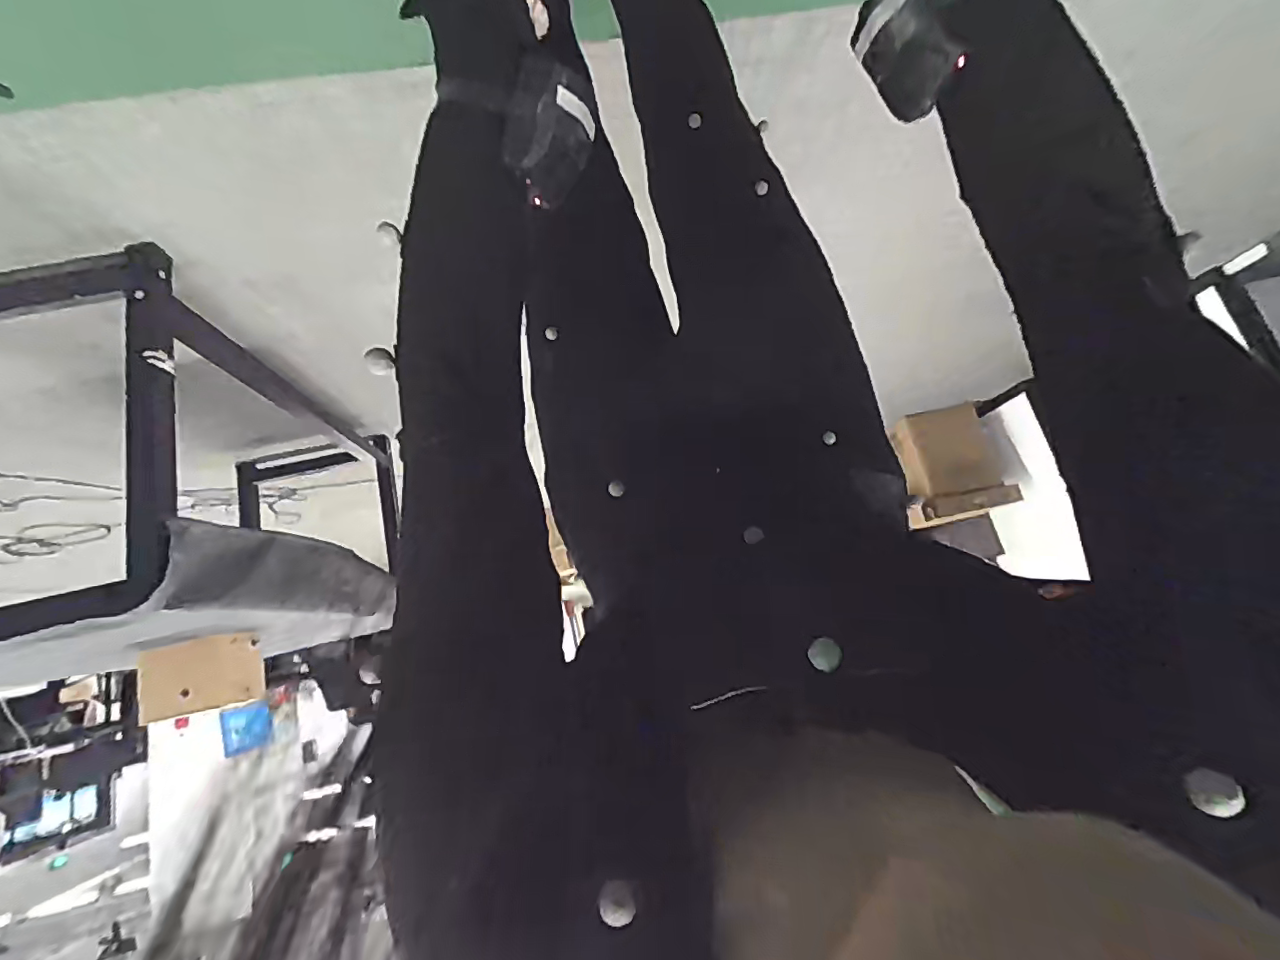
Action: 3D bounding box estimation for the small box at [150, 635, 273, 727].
[{"bbox_3d":[-1.028,0.474,1.303,0.179,0.176,0.168,-11,165,-4],"label":"small box"}]
